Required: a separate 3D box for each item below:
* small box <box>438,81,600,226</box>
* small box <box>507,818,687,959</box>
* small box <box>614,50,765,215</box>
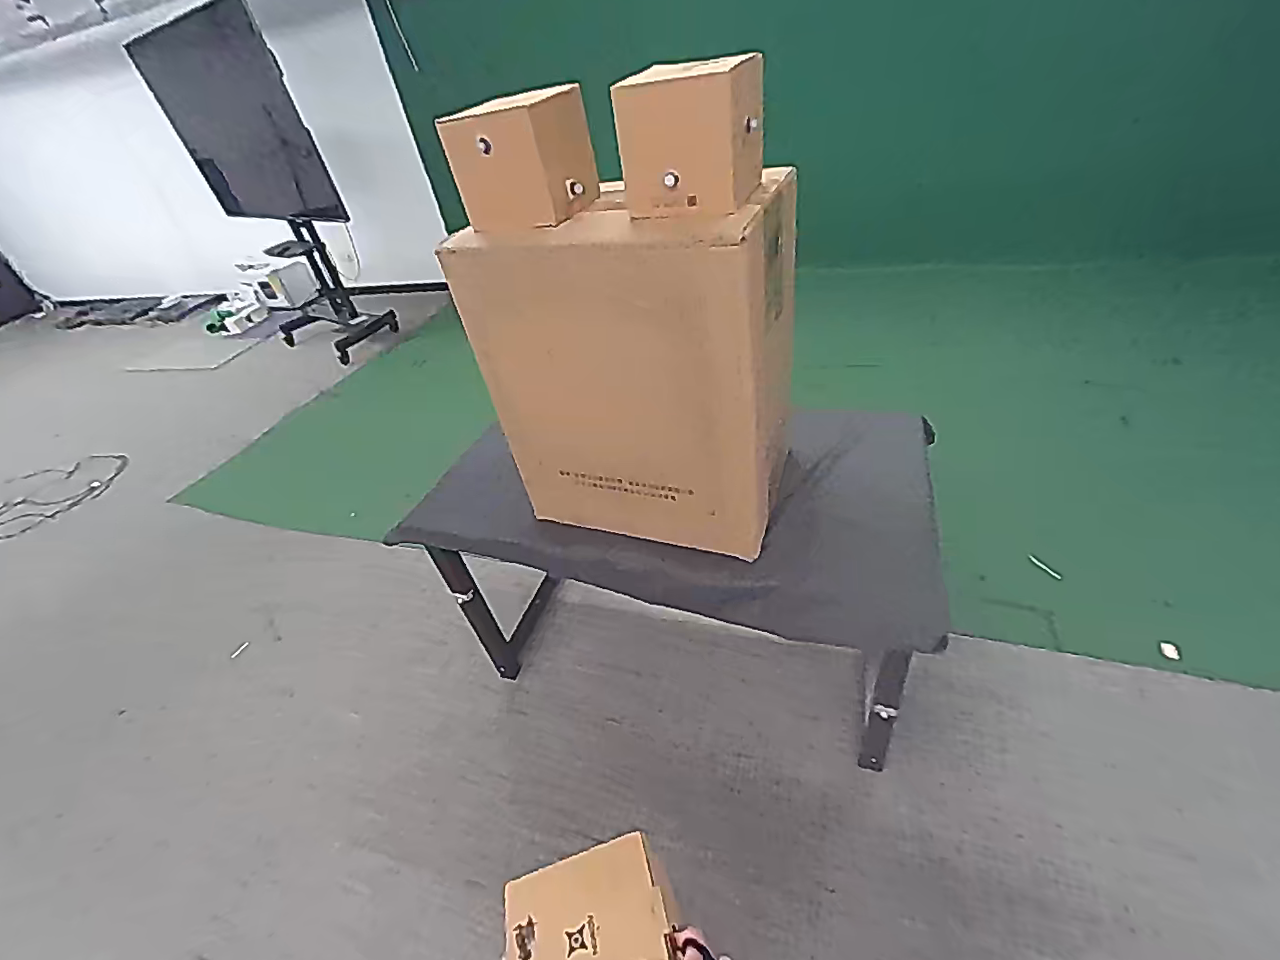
[{"bbox_3d":[-0.188,-0.533,0.893,0.179,0.176,0.168,10,47,22],"label":"small box"},{"bbox_3d":[-0.043,0.544,0.637,0.179,0.176,0.168,-18,35,-4],"label":"small box"},{"bbox_3d":[0.080,-0.505,0.791,0.168,0.176,0.179,10,46,22],"label":"small box"}]
